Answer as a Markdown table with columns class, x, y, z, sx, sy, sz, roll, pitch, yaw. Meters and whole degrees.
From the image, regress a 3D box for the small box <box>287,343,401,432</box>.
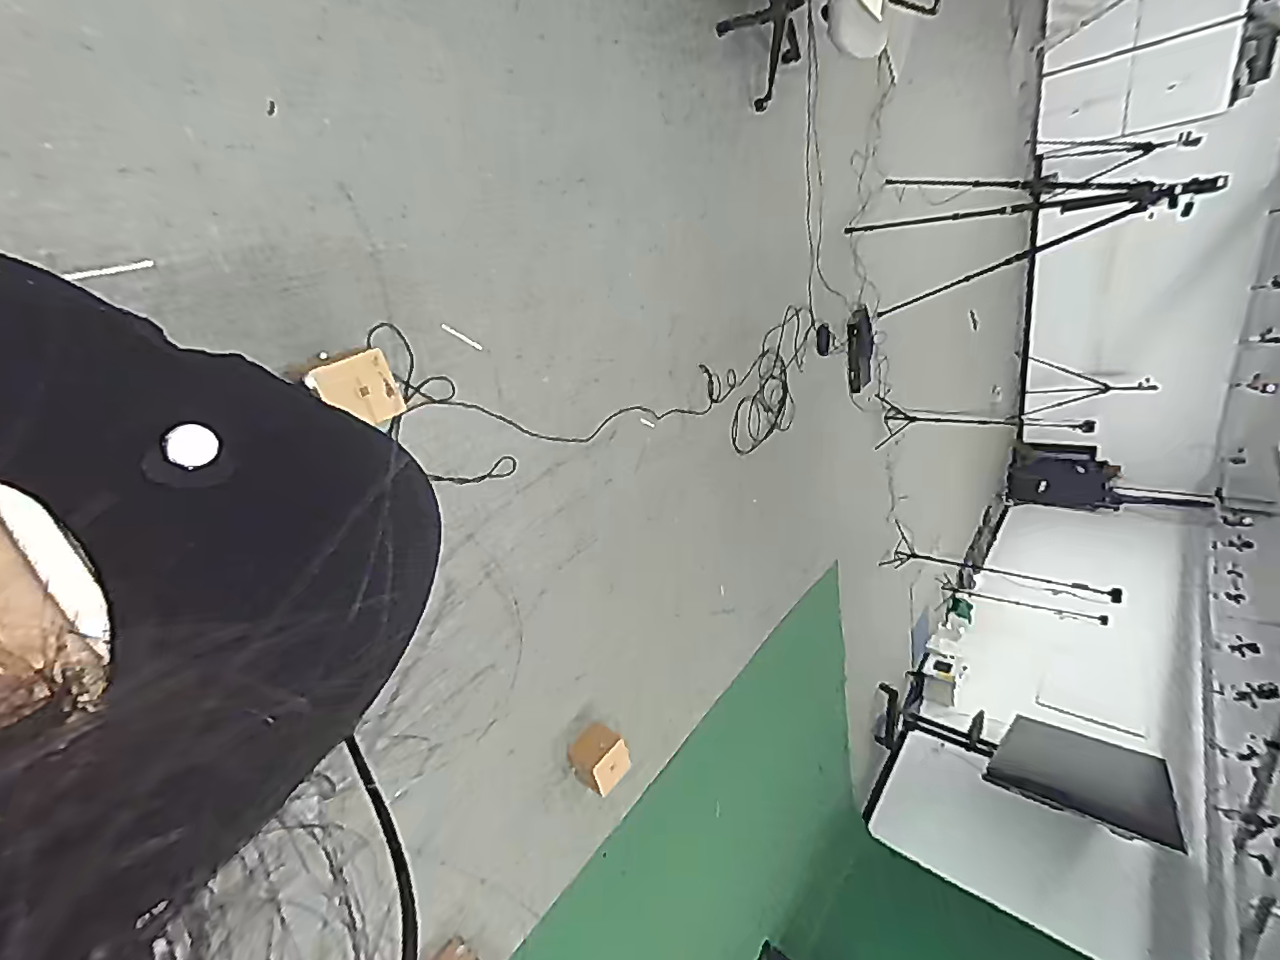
| class | x | y | z | sx | sy | sz | roll | pitch | yaw |
| --- | --- | --- | --- | --- | --- | --- | --- | --- | --- |
| small box | -0.730 | -0.229 | 1.322 | 0.179 | 0.176 | 0.168 | -36 | 123 | -37 |

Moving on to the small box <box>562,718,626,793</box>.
| class | x | y | z | sx | sy | sz | roll | pitch | yaw |
| --- | --- | --- | --- | --- | --- | --- | --- | --- | --- |
| small box | -0.187 | 1.107 | 2.191 | 0.179 | 0.176 | 0.168 | -34 | 120 | -38 |
